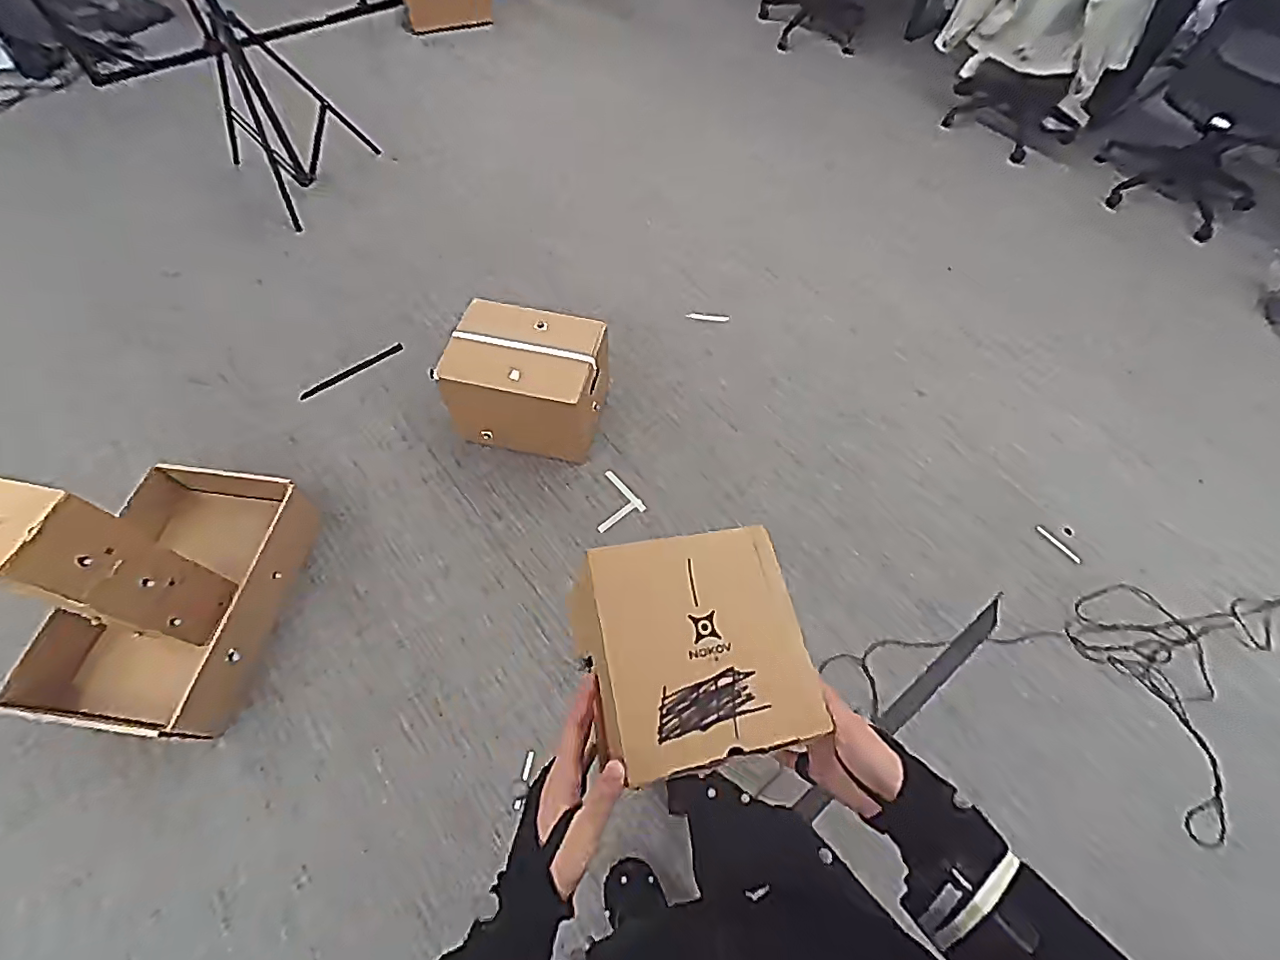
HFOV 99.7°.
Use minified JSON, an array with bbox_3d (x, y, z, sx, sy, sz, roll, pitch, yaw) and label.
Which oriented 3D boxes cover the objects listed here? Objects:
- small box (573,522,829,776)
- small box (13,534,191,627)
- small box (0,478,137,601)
[{"bbox_3d":[0.037,0.157,0.499,0.168,0.176,0.179,-5,64,-16],"label":"small box"},{"bbox_3d":[-1.142,0.207,1.169,0.179,0.176,0.168,11,59,4],"label":"small box"},{"bbox_3d":[-1.146,0.118,1.032,0.179,0.176,0.168,10,60,4],"label":"small box"}]
